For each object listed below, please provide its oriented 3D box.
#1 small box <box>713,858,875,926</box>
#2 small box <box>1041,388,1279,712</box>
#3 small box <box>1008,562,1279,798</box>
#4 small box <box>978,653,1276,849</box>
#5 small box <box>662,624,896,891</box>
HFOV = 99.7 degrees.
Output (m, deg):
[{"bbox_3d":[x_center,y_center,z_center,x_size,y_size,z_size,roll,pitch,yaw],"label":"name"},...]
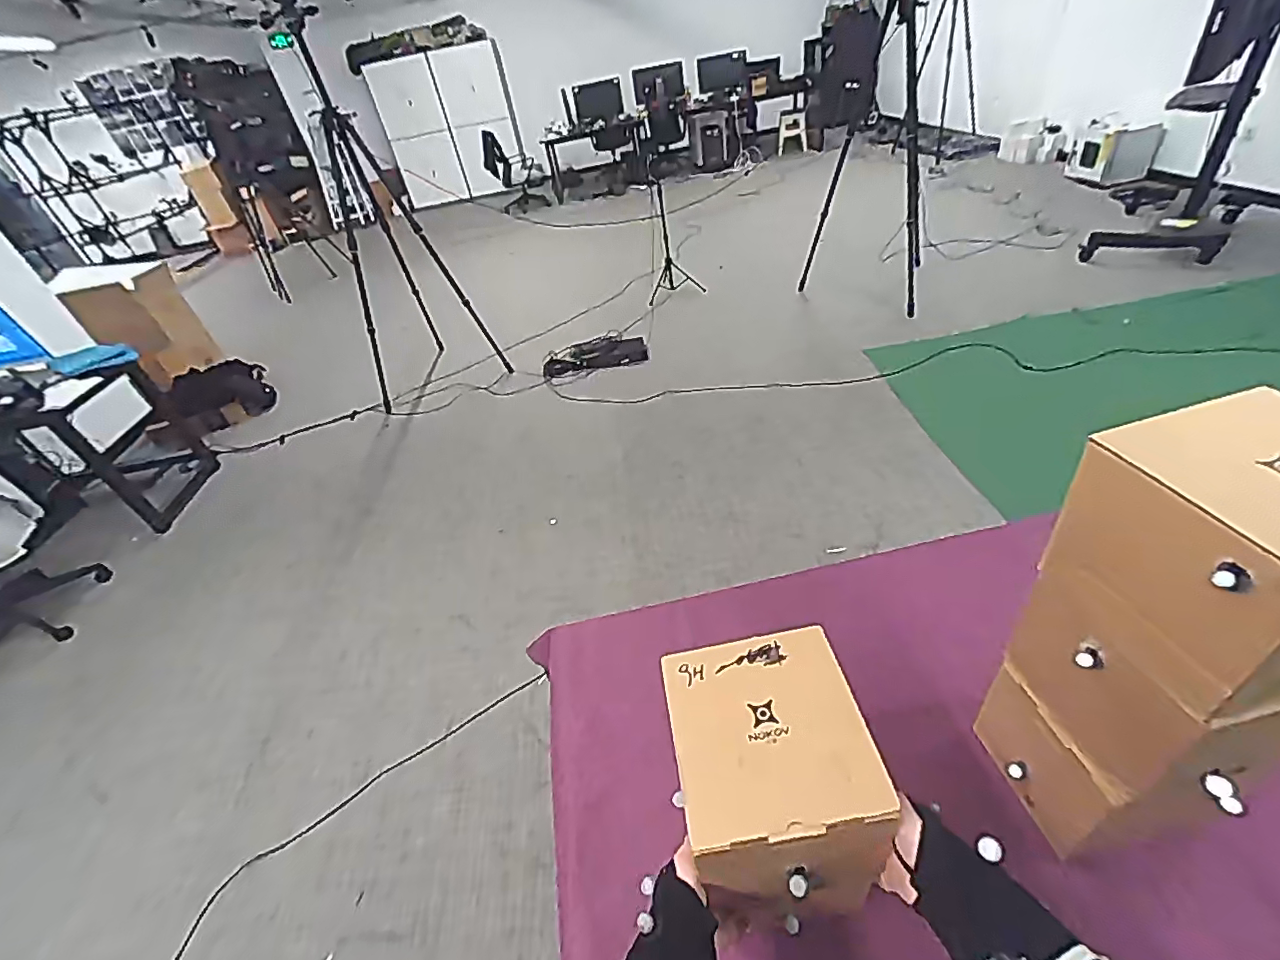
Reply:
[{"bbox_3d":[0.155,0.391,0.644,0.168,0.176,0.179,-12,40,1],"label":"small box"},{"bbox_3d":[0.483,0.053,0.444,0.168,0.176,0.179,-16,40,-2],"label":"small box"},{"bbox_3d":[0.515,0.180,0.541,0.168,0.176,0.179,-14,40,-1],"label":"small box"},{"bbox_3d":[0.545,0.305,0.641,0.179,0.176,0.168,-13,38,0],"label":"small box"},{"bbox_3d":[0.125,0.275,0.530,0.168,0.176,0.179,-12,40,2],"label":"small box"}]
